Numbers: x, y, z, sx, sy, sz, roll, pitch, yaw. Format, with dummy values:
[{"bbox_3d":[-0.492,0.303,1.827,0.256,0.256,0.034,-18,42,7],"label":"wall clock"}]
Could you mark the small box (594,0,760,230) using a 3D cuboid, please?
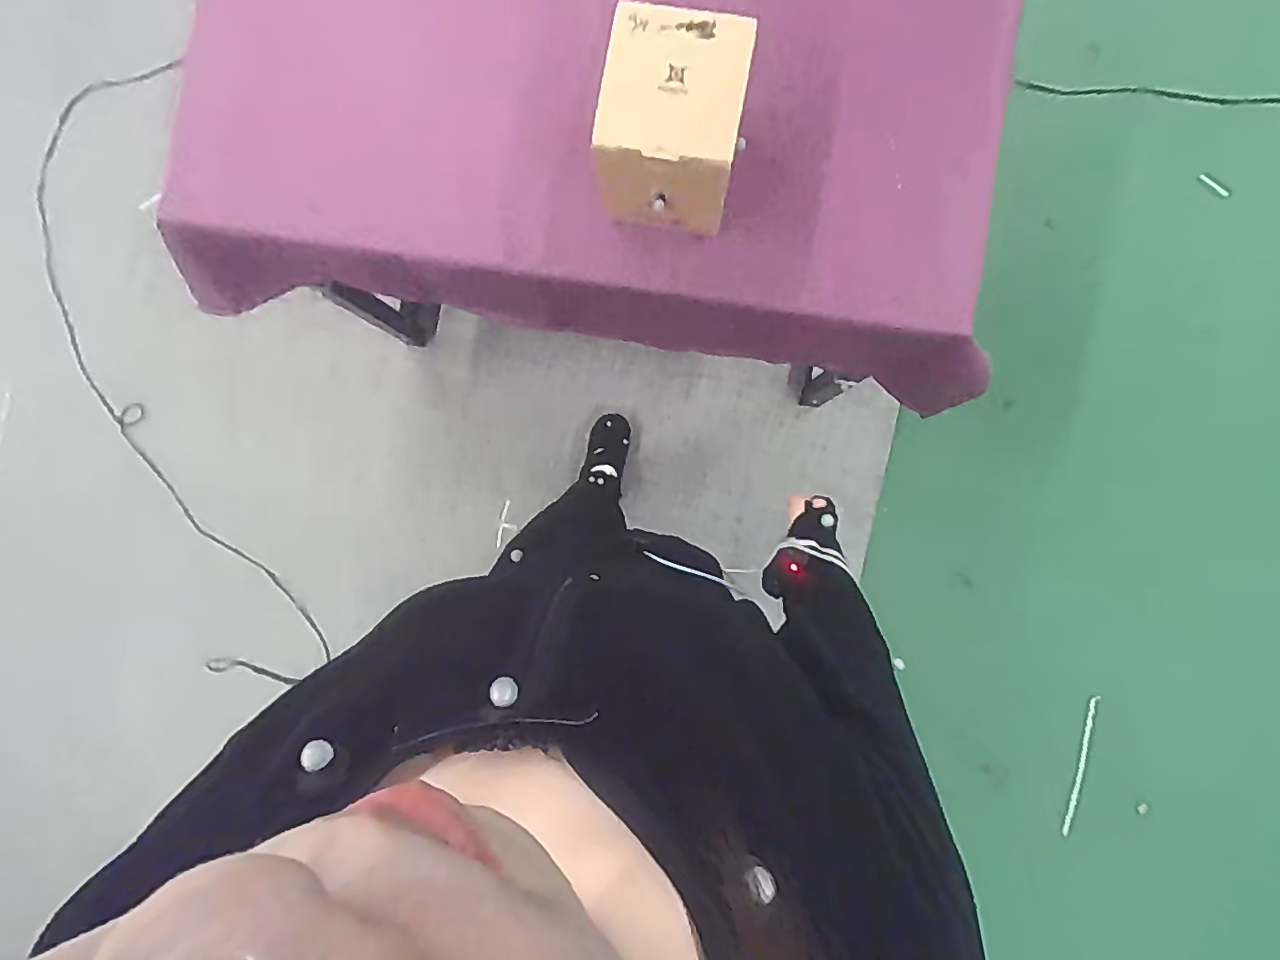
[{"bbox_3d":[0.046,-0.451,0.697,0.168,0.176,0.179,11,90,2],"label":"small box"}]
